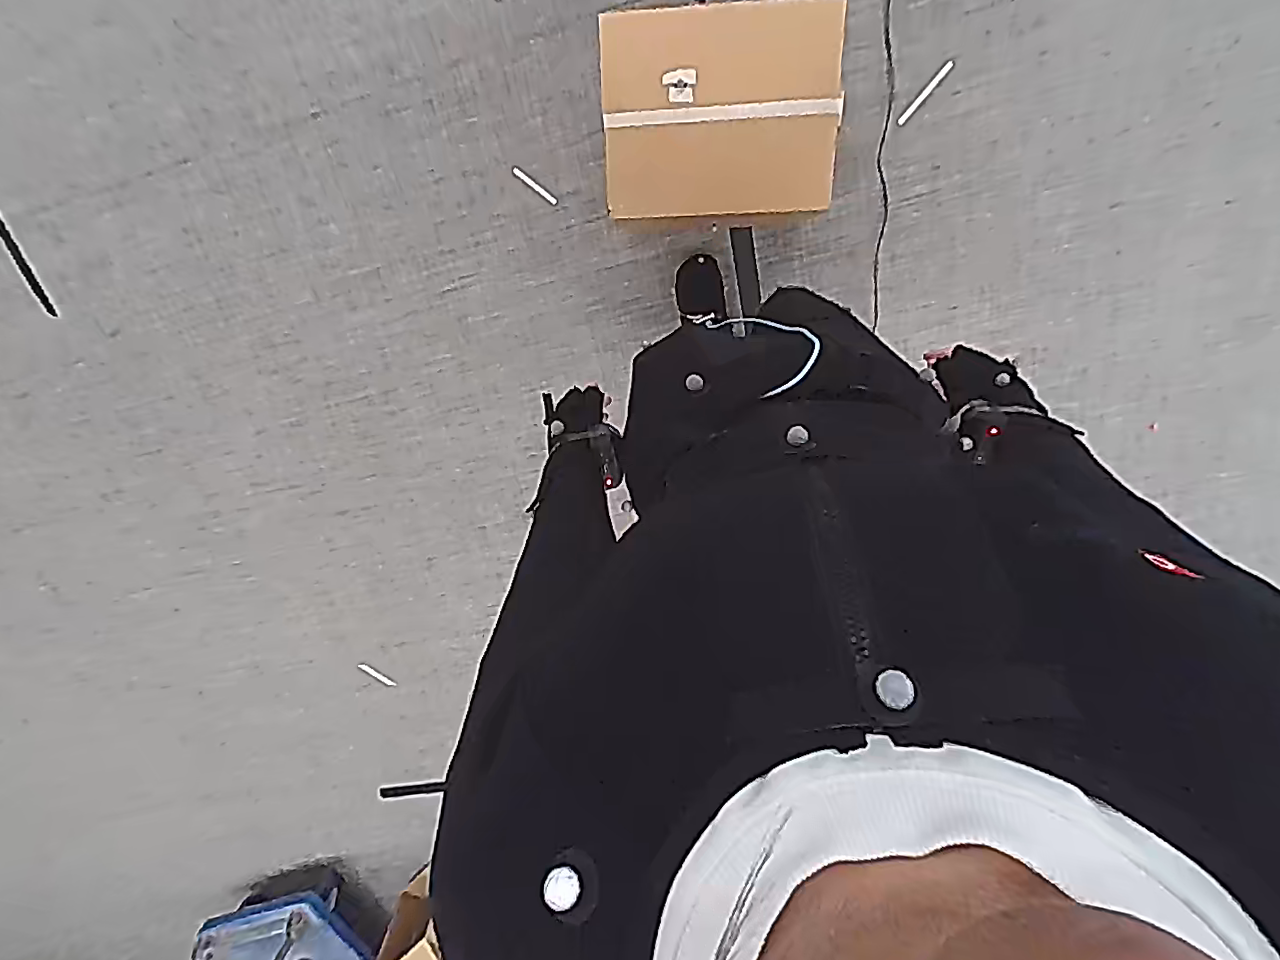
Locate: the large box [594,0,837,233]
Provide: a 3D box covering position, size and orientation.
[{"bbox_3d":[0.143,-0.676,1.071,0.408,0.320,0.320,0,110,6],"label":"large box"}]
